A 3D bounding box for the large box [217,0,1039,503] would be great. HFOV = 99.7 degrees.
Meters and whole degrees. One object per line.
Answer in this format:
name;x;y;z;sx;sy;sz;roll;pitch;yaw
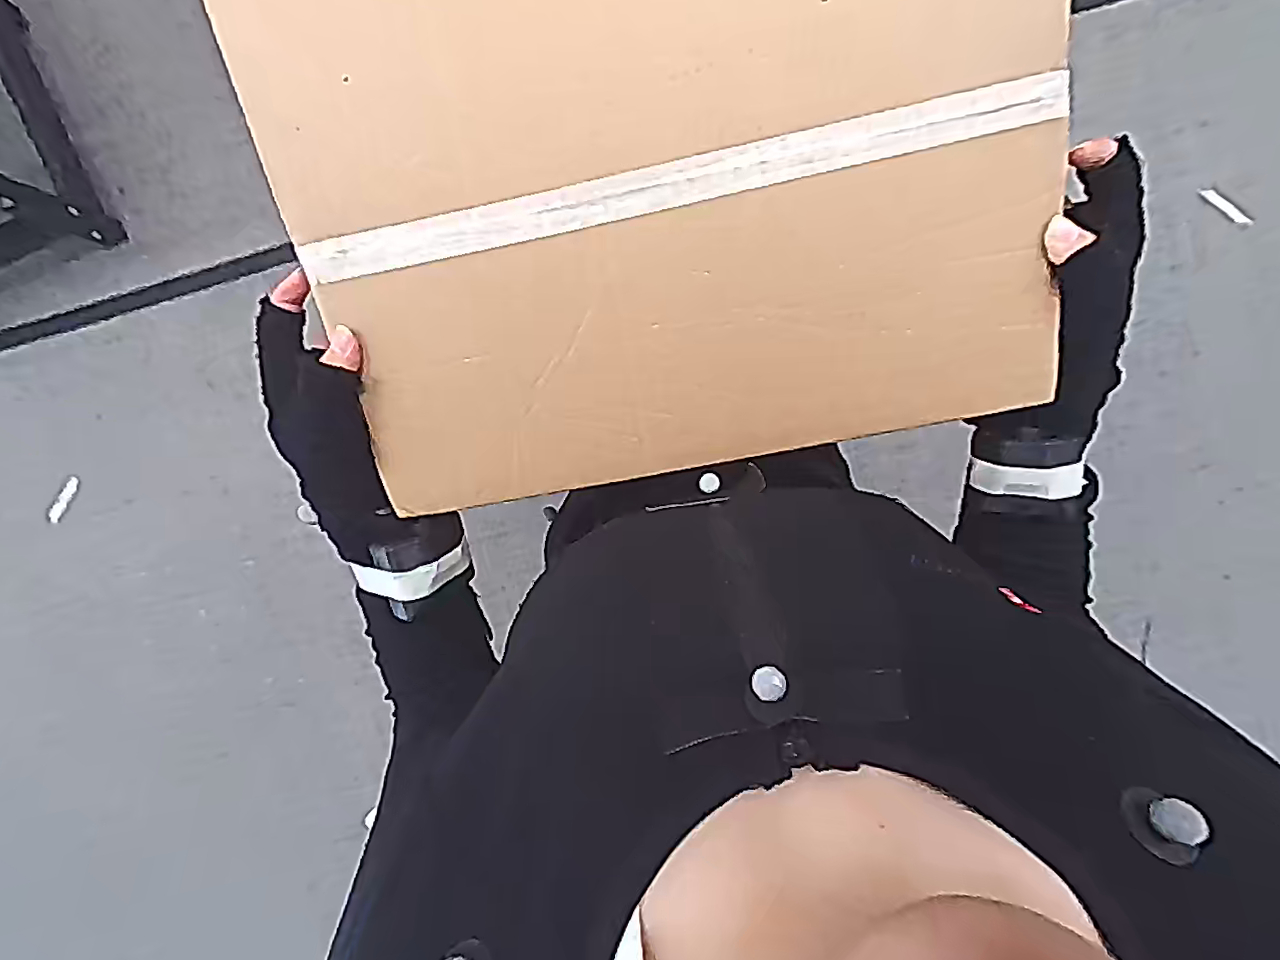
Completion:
large box;0.011;-0.212;0.434;0.408;0.320;0.320;-10;108;4
